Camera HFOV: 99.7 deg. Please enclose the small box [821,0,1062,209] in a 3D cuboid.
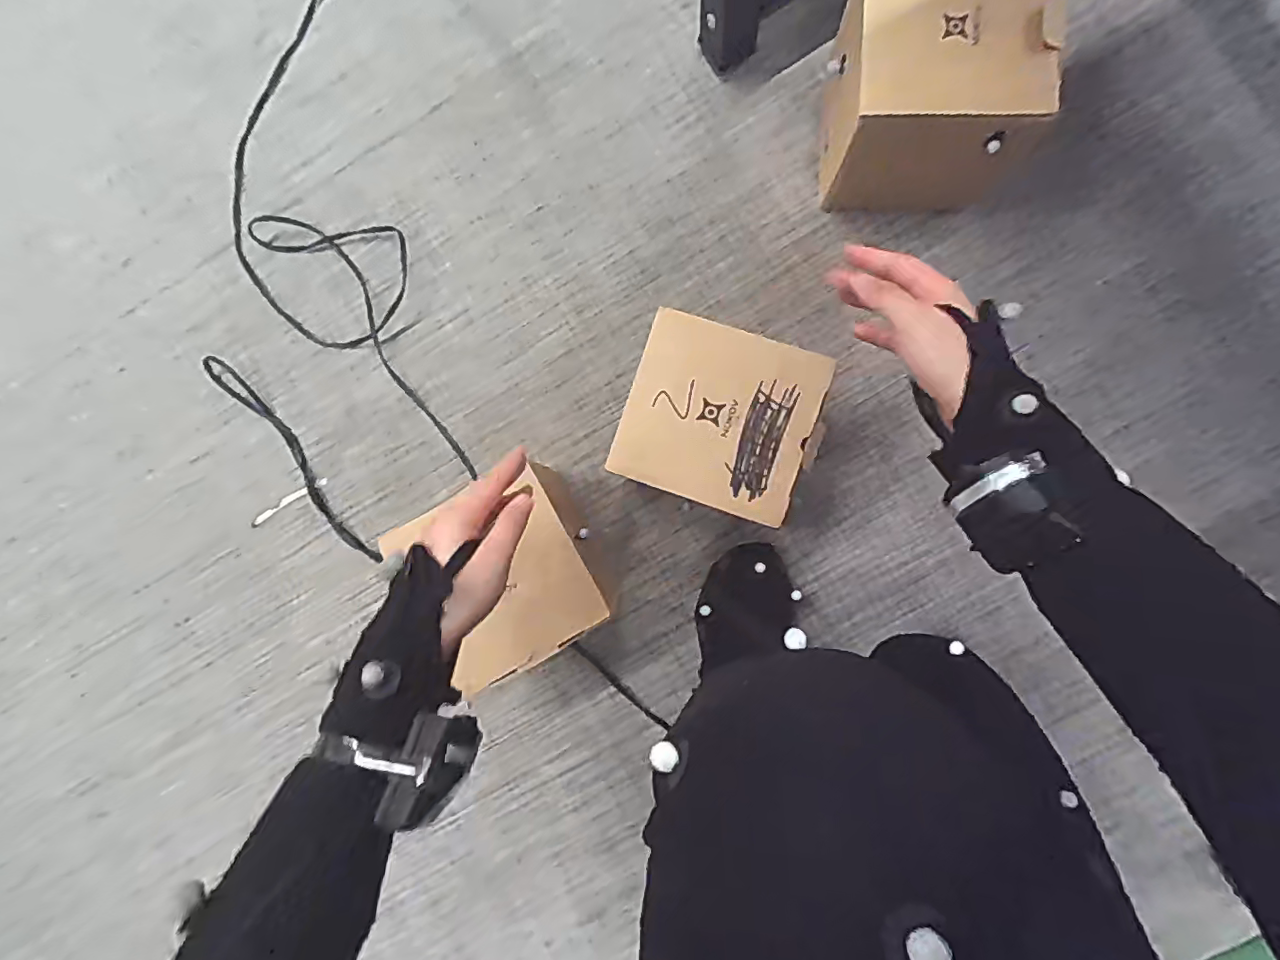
[{"bbox_3d":[0.297,-0.407,0.569,0.179,0.176,0.168,2,89,5],"label":"small box"}]
